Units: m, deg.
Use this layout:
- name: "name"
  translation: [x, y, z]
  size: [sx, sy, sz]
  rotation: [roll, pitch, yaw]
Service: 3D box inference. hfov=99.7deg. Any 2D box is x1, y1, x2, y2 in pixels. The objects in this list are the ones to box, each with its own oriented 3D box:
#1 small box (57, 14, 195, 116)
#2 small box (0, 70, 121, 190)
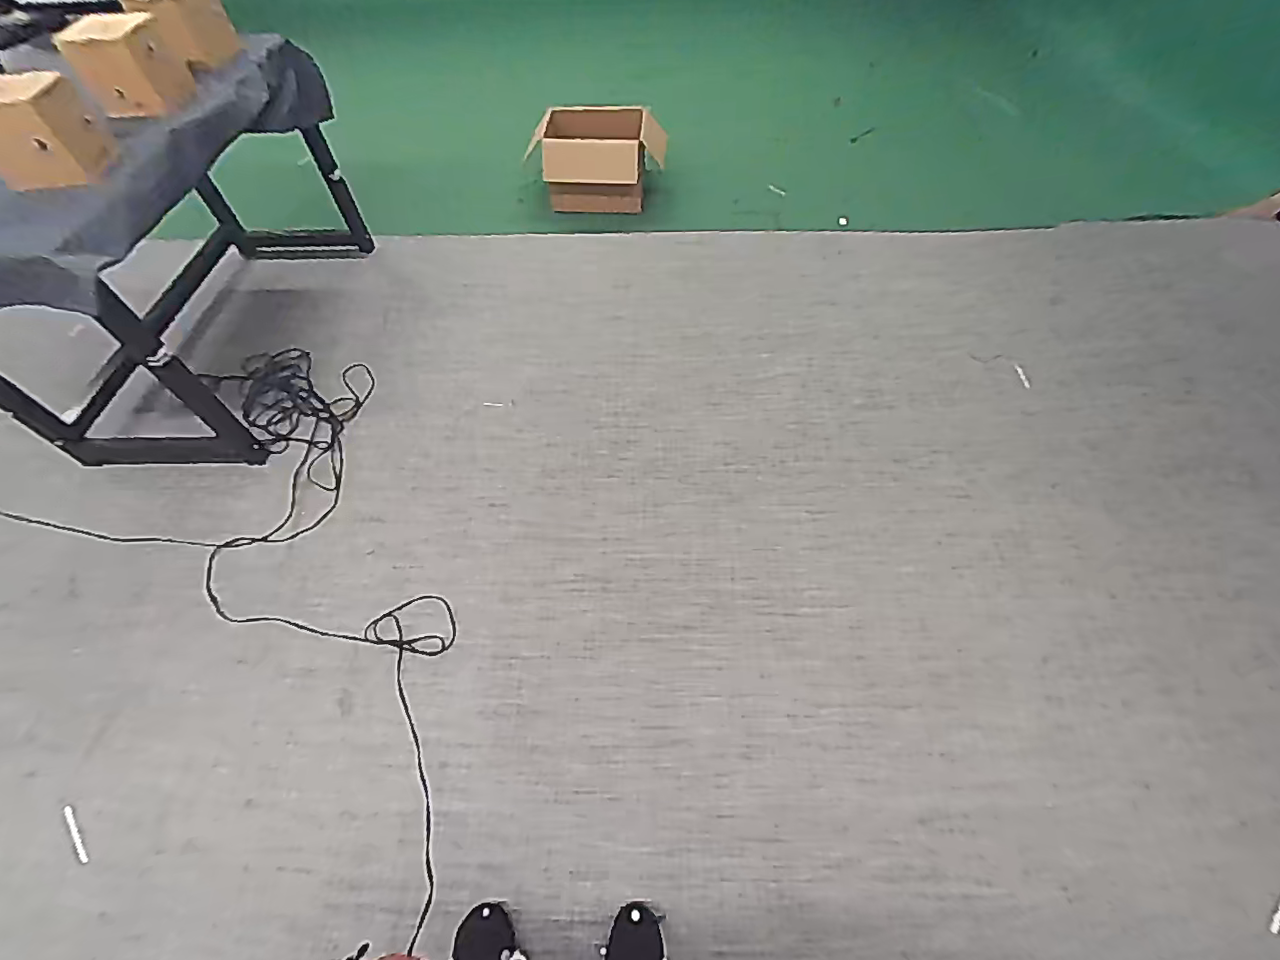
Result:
- name: "small box"
  translation: [-1.317, -1.078, 1.406]
  size: [0.168, 0.176, 0.179]
  rotation: [-2, 56, 0]
- name: "small box"
  translation: [-1.321, -0.769, 1.193]
  size: [0.179, 0.176, 0.168]
  rotation: [-9, 54, -3]
